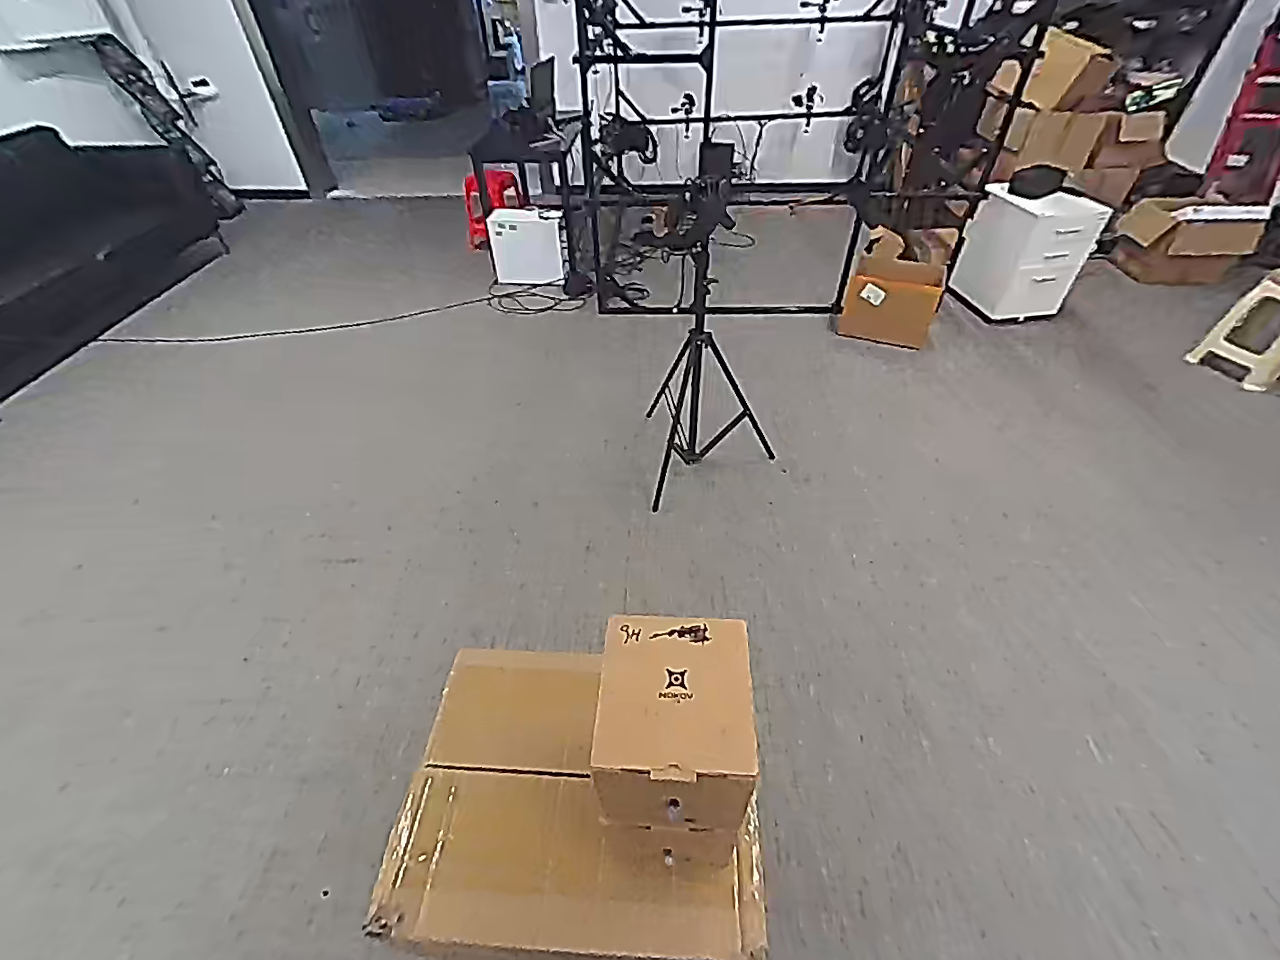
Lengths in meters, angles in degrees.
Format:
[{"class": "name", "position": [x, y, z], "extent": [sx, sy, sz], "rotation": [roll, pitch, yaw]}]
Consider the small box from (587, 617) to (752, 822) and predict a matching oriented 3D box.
[{"class": "small box", "position": [0.039, 0.283, 0.639], "extent": [0.168, 0.176, 0.179], "rotation": [1, 44, 4]}]

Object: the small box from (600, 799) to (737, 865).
[{"class": "small box", "position": [0.040, 0.406, 0.749], "extent": [0.168, 0.176, 0.179], "rotation": [0, 43, 4]}]
